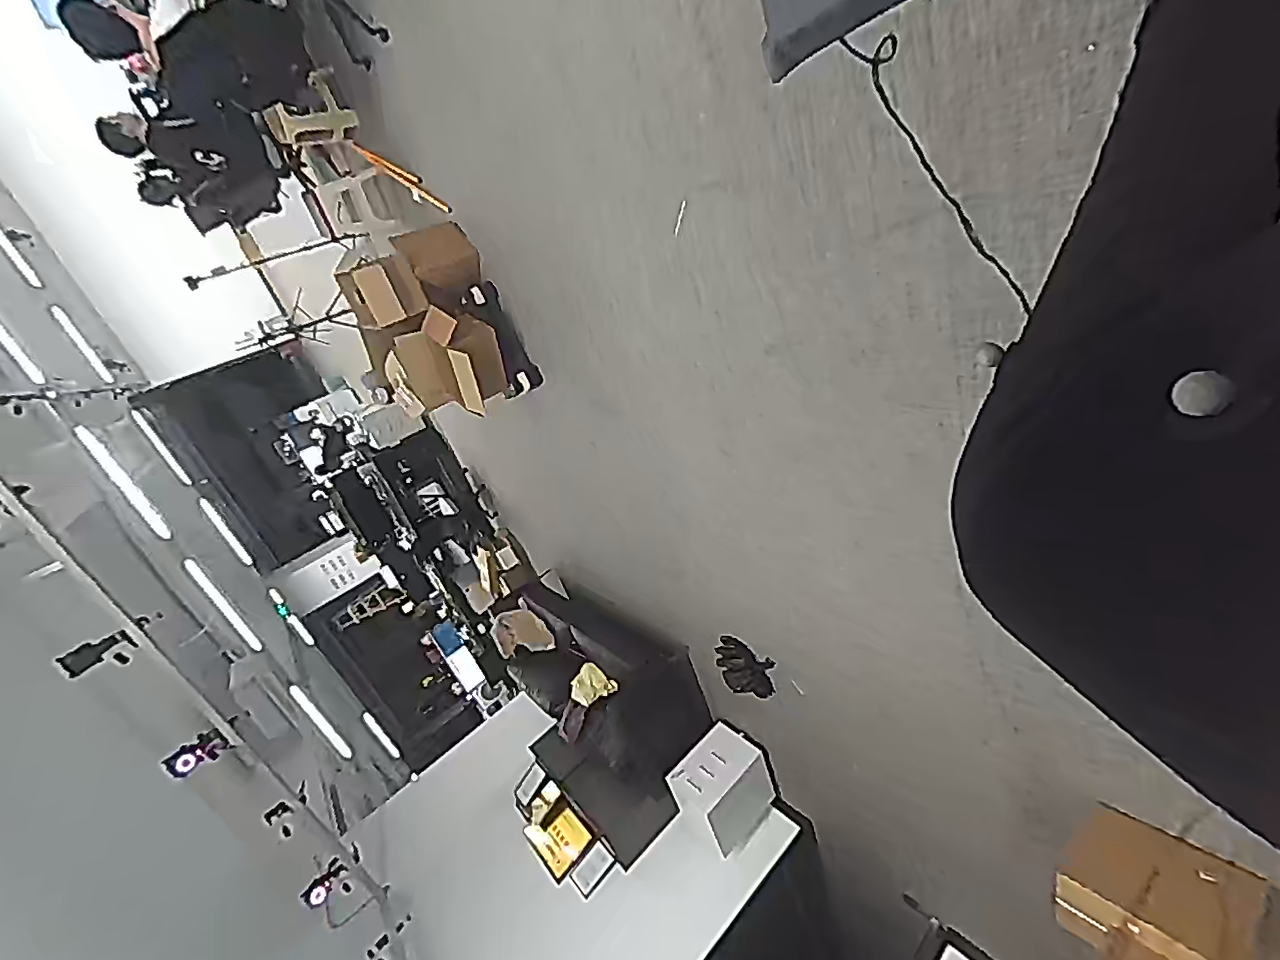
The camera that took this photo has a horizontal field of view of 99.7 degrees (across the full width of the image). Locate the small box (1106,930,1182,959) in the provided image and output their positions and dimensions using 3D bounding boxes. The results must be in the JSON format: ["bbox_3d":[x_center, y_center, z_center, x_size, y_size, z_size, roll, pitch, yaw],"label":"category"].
[{"bbox_3d":[1.457,1.445,1.542,0.179,0.176,0.168,14,125,54],"label":"small box"}]
